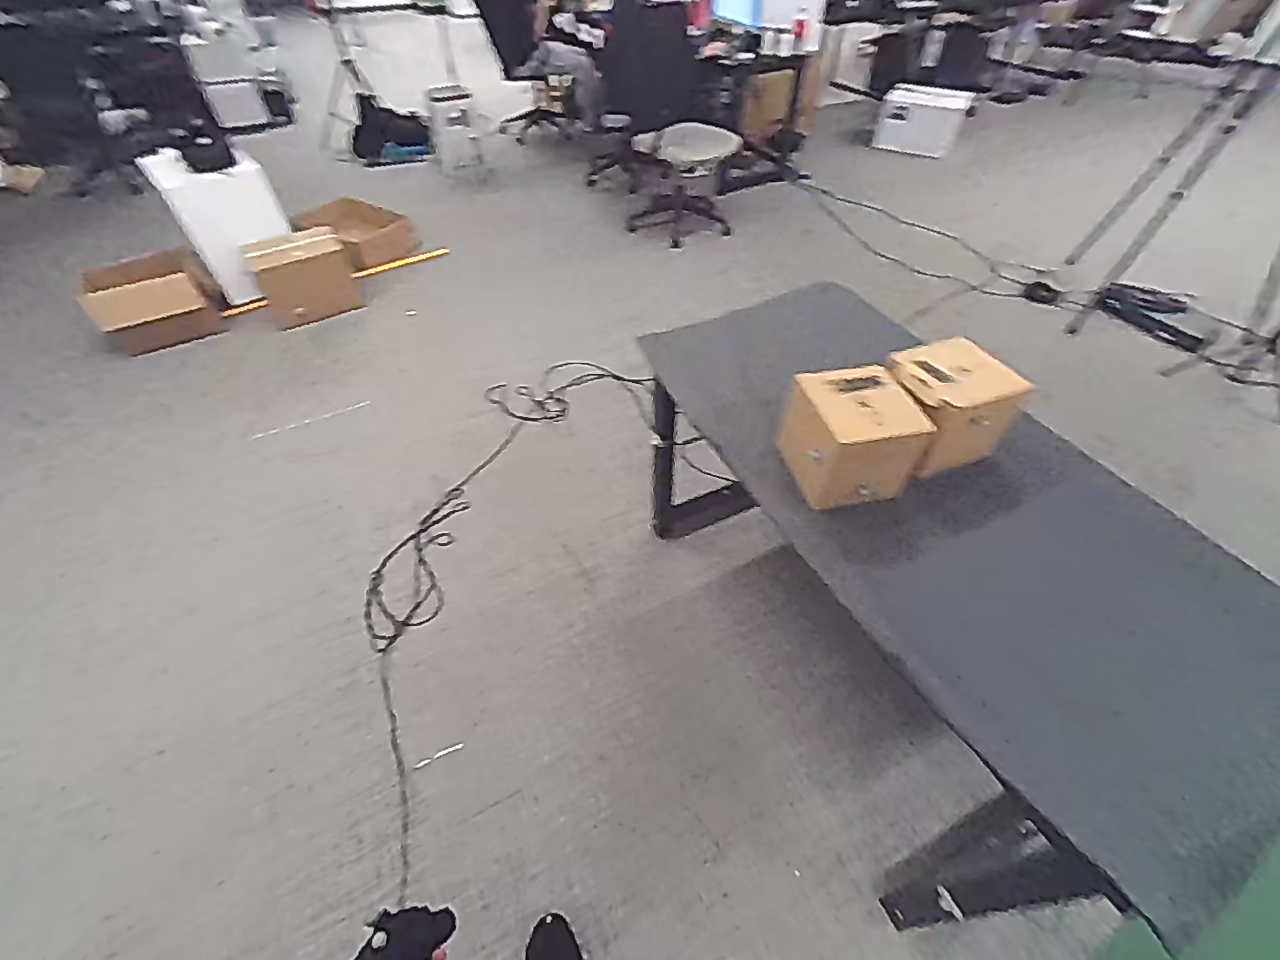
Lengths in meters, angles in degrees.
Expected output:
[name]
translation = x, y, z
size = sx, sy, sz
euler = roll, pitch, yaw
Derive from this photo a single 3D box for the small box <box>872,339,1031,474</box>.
[small box]
translation = 0.562, -0.133, 1.009
size = 0.179, 0.176, 0.168
euler = -16, 50, -15
